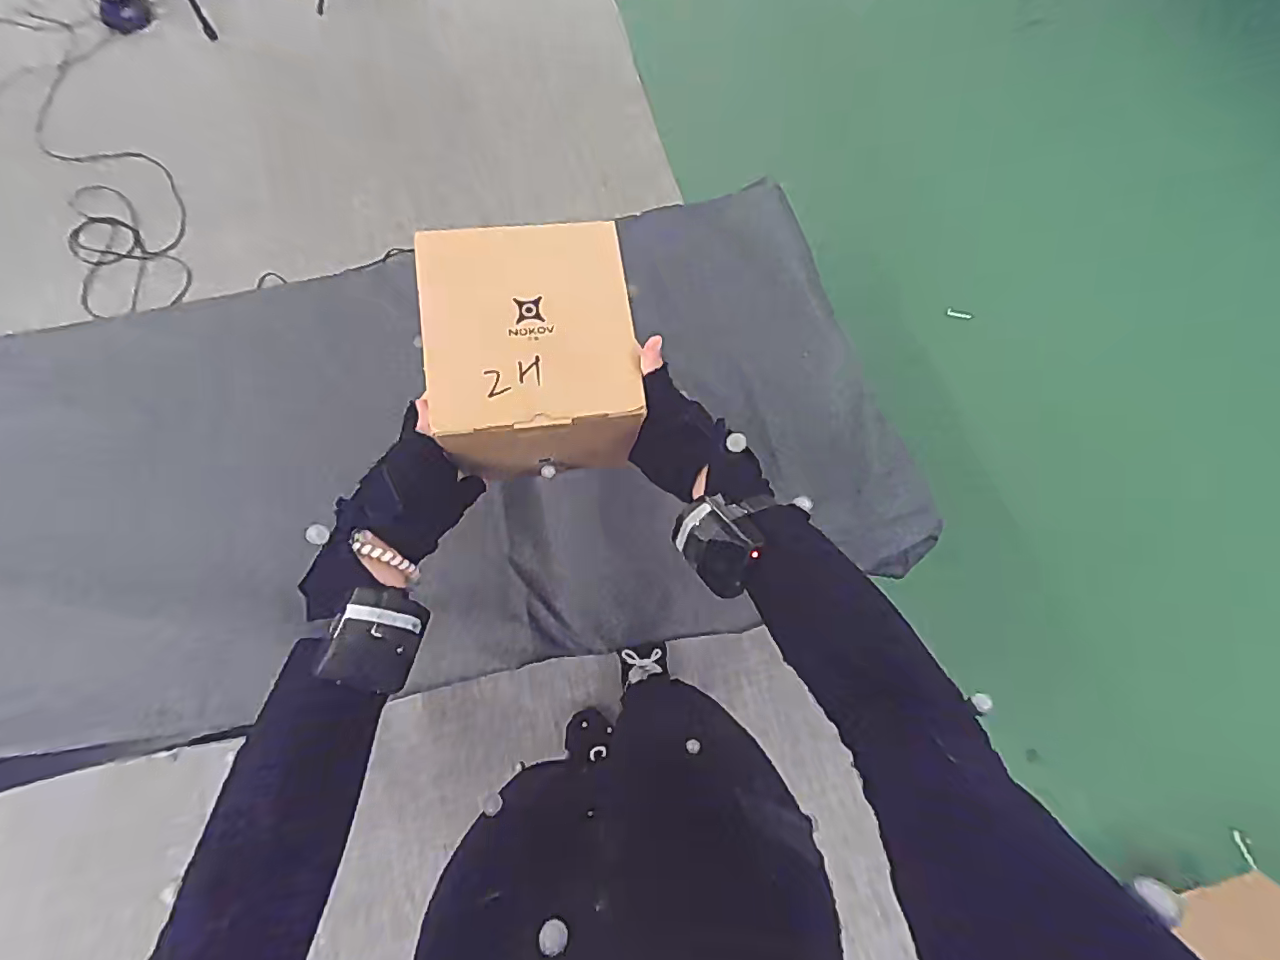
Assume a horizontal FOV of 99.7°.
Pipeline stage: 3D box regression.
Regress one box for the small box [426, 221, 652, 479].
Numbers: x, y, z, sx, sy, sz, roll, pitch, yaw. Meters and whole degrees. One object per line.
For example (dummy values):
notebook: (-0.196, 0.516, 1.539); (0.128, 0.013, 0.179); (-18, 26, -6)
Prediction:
small box: (-0.092, -0.110, 0.507); (0.168, 0.176, 0.179); (-7, 78, -9)
